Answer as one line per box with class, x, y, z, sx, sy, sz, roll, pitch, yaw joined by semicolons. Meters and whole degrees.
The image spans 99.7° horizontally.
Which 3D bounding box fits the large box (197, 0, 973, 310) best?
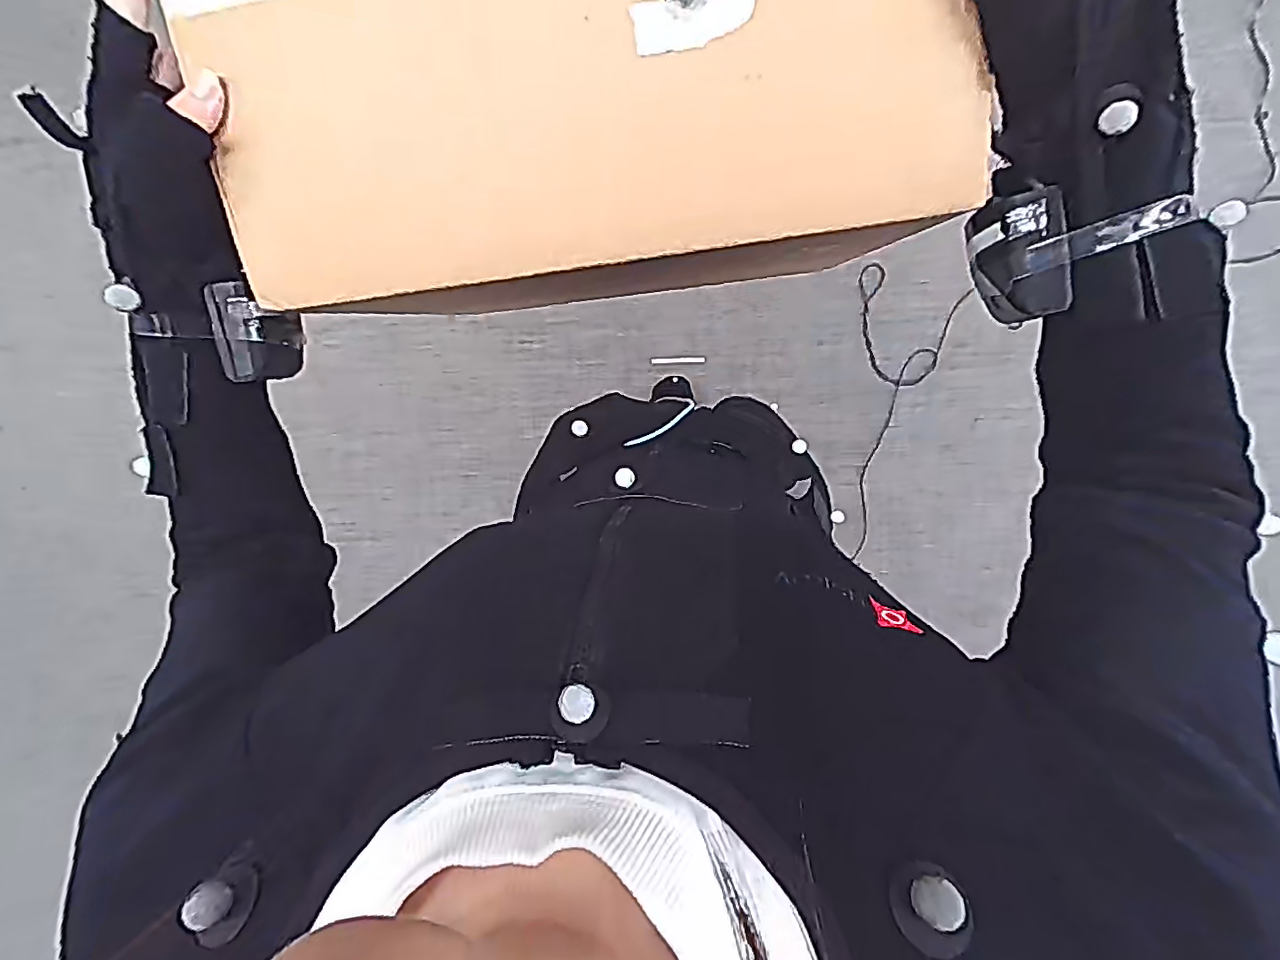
large box;-0.032;-0.319;0.409;0.408;0.320;0.320;-6;107;7
